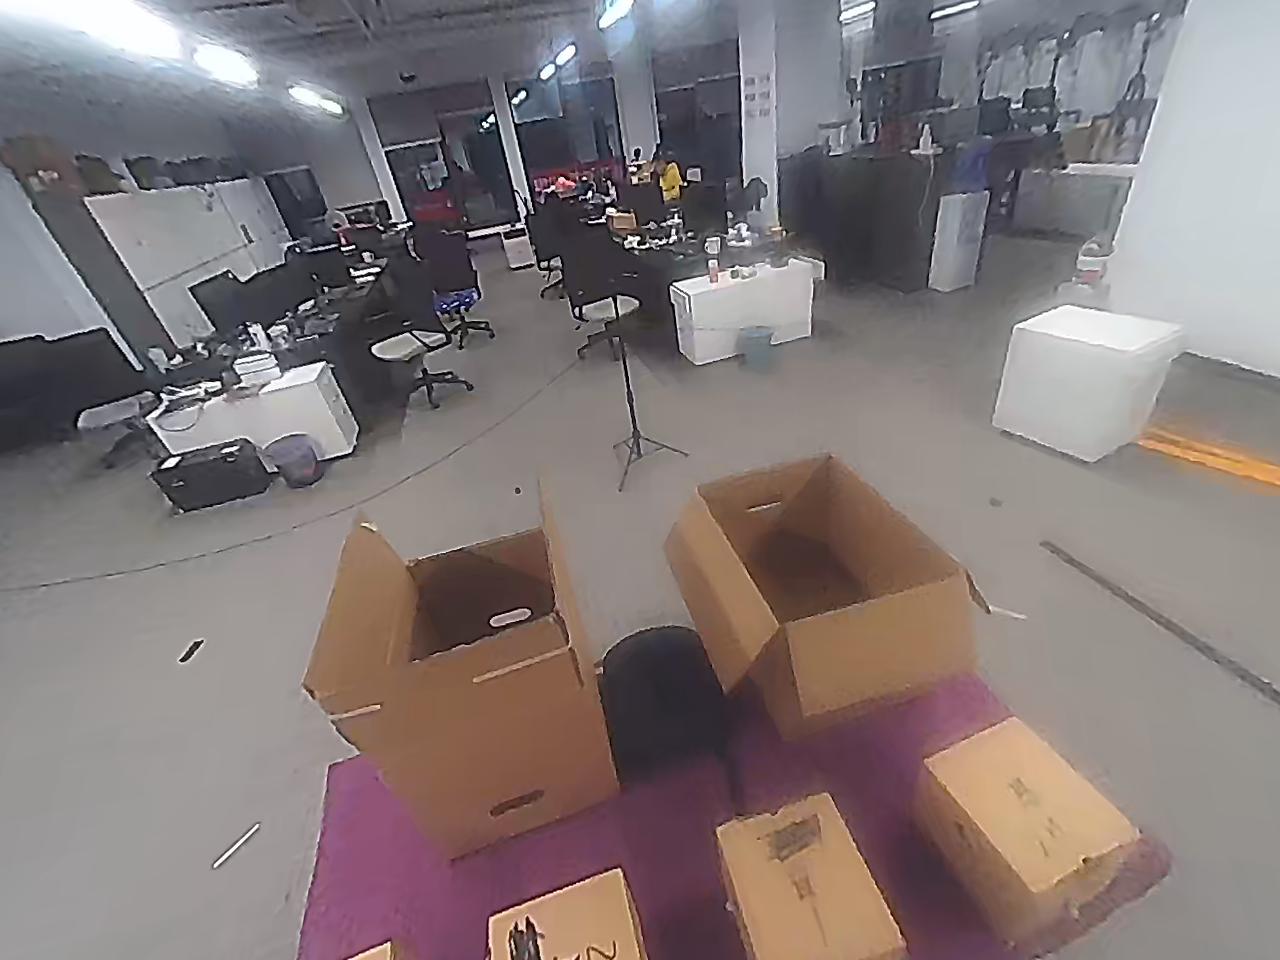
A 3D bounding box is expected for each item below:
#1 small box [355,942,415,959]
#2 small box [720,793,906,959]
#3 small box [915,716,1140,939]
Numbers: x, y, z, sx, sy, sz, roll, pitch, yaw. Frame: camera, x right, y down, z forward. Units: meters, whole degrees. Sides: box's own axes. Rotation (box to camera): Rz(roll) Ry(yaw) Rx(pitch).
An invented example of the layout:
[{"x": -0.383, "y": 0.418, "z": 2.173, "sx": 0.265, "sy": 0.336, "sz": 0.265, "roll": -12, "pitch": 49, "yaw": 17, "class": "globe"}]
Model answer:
[{"x": -0.345, "y": 0.706, "z": 0.633, "sx": 0.179, "sy": 0.176, "sz": 0.168, "roll": -17, "pitch": 33, "yaw": -12, "class": "small box"}, {"x": 0.212, "y": 0.556, "z": 0.705, "sx": 0.168, "sy": 0.176, "sz": 0.179, "roll": -15, "pitch": 34, "yaw": -6, "class": "small box"}, {"x": 0.511, "y": 0.473, "z": 0.746, "sx": 0.168, "sy": 0.176, "sz": 0.179, "roll": -18, "pitch": 34, "yaw": -10, "class": "small box"}]
